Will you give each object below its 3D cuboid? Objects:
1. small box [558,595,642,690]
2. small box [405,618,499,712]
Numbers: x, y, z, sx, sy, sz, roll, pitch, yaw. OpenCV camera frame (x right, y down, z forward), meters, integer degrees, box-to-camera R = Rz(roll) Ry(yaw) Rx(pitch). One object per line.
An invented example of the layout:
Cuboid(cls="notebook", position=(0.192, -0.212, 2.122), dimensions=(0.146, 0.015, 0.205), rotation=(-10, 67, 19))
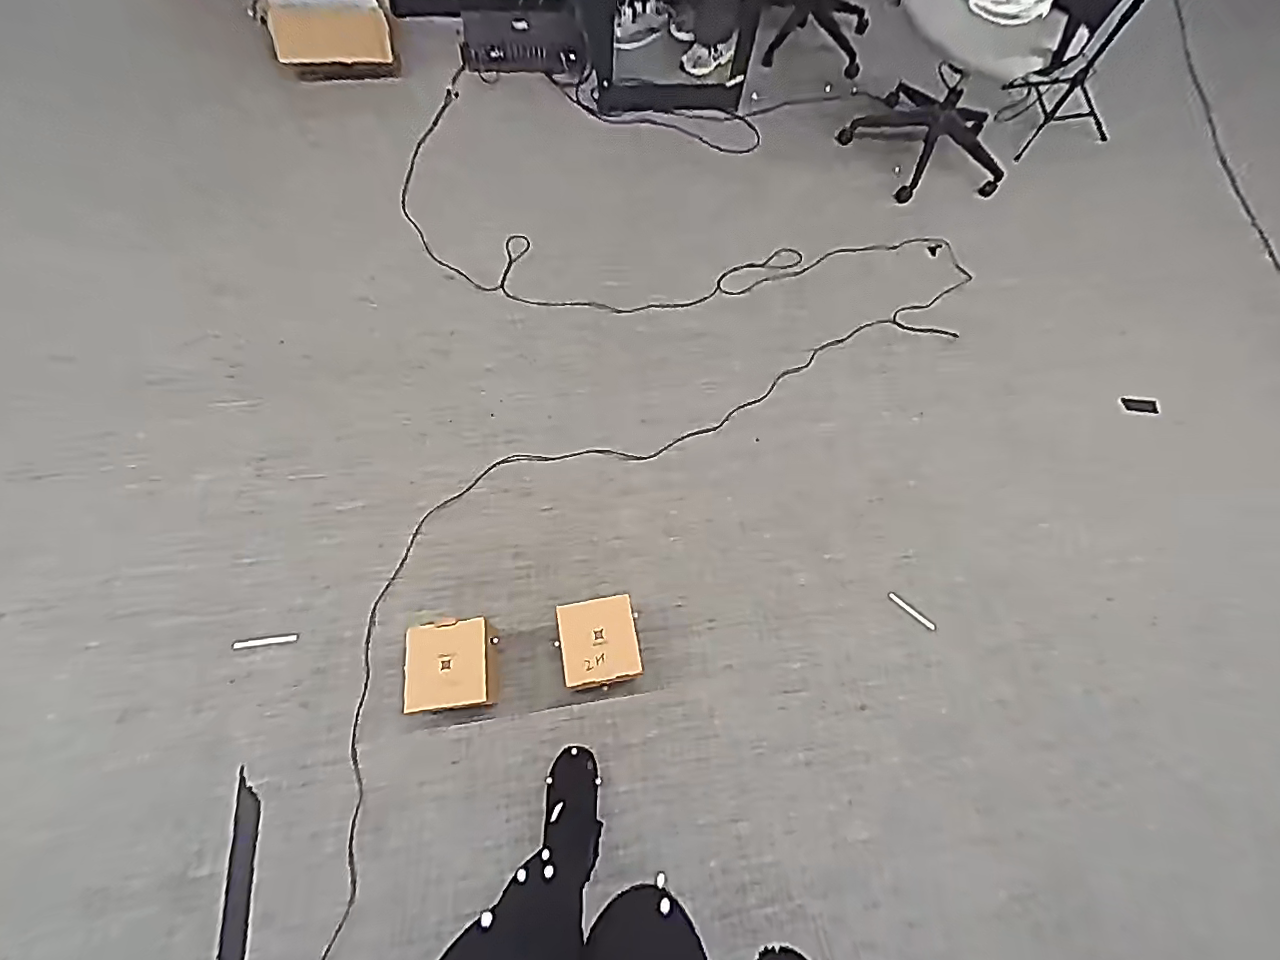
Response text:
Cuboid(cls="small box", position=(-0.097, 0.380, 1.252), dimensions=(0.168, 0.176, 0.179), rotation=(-8, 68, -8))
Cuboid(cls="small box", position=(-0.412, 0.417, 1.209), dimensions=(0.168, 0.176, 0.179), rotation=(-5, 68, -6))
